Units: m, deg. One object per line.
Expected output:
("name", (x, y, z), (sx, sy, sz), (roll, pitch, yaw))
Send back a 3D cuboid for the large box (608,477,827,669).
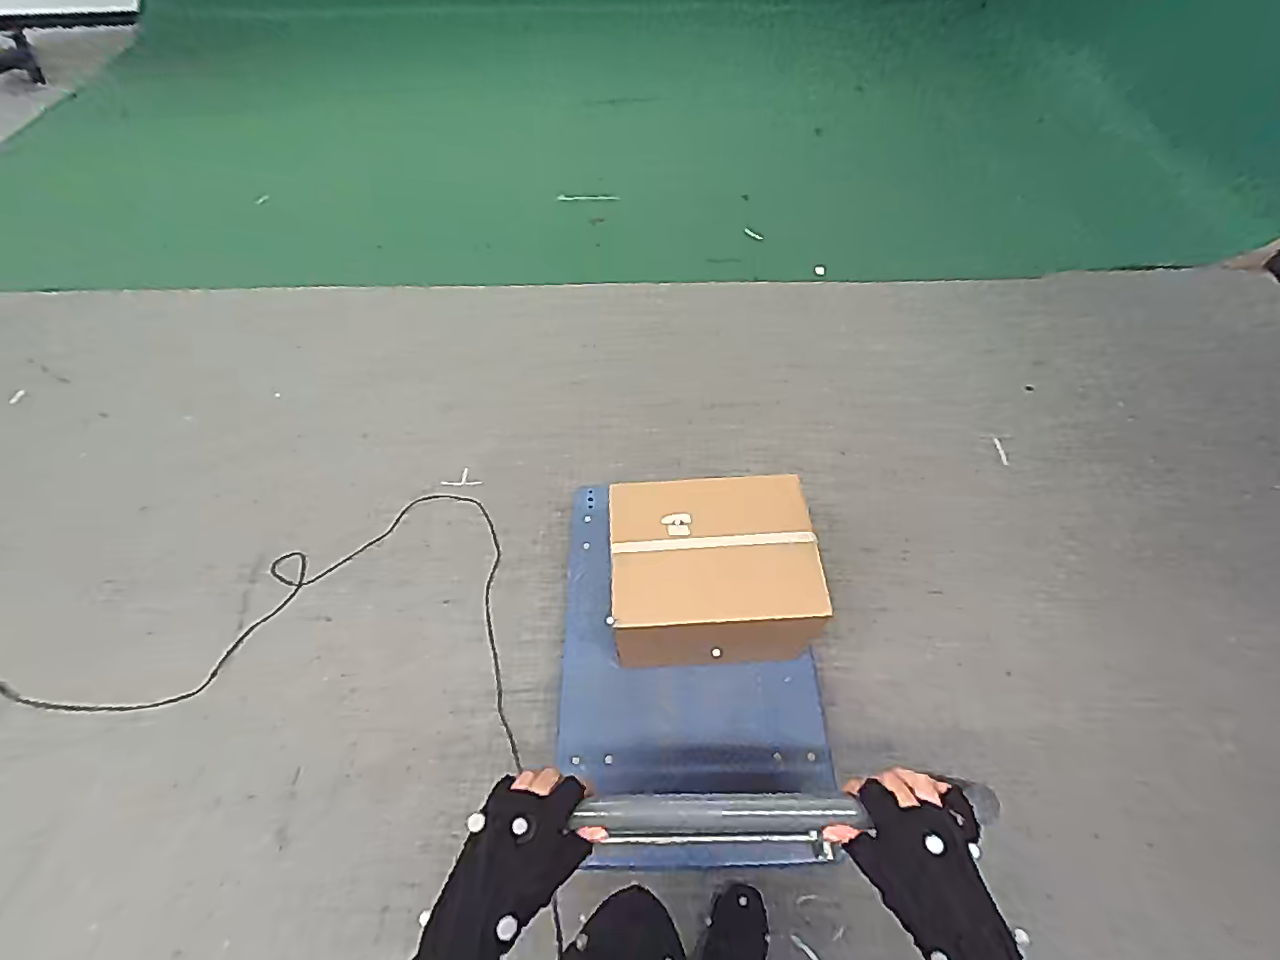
("large box", (0.147, 0.216, 1.193), (0.408, 0.320, 0.320), (-4, 56, 1))
